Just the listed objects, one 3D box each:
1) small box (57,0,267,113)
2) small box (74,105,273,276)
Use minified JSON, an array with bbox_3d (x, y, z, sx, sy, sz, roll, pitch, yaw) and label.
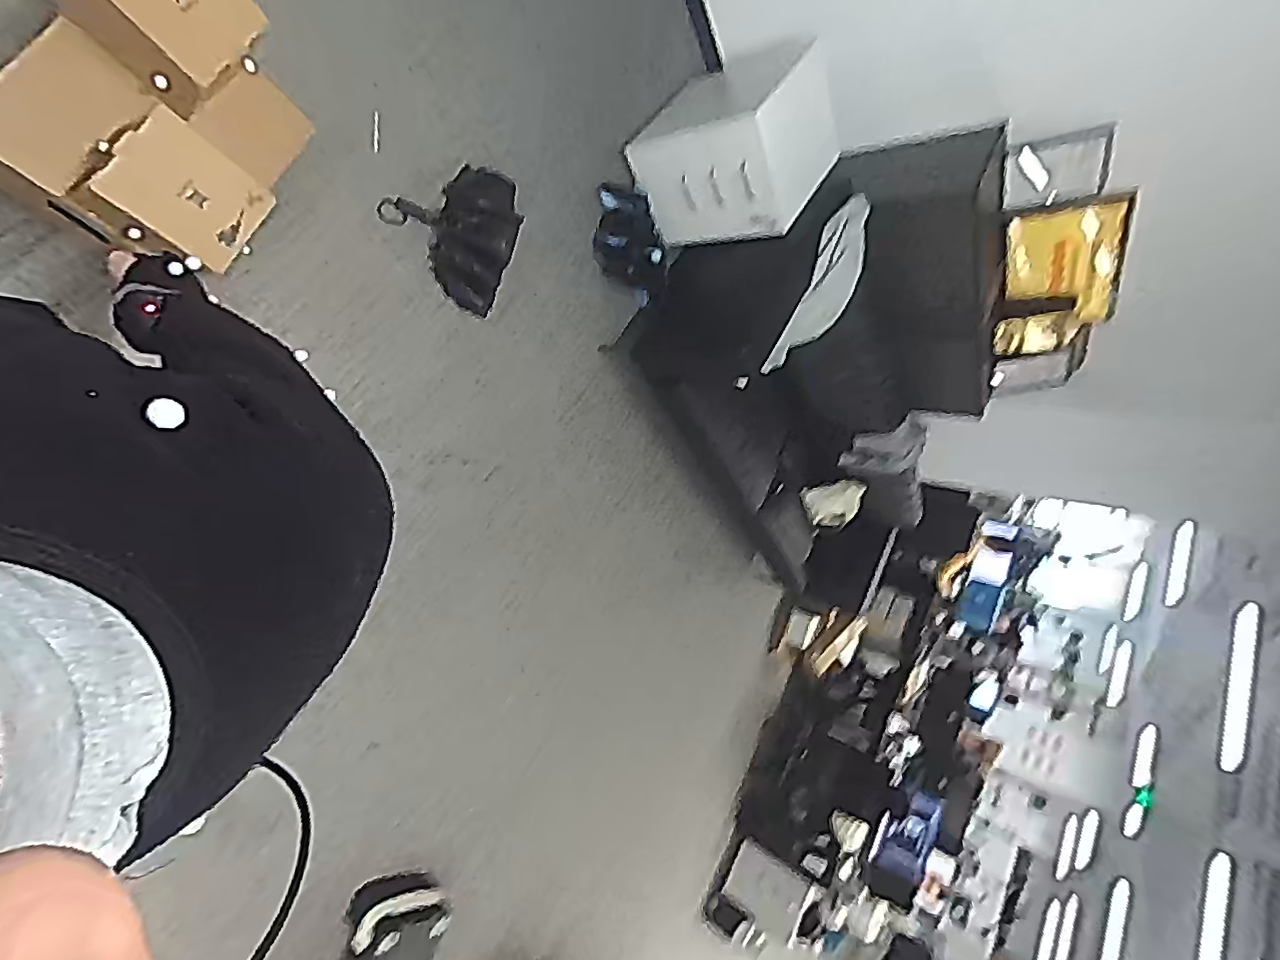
[{"bbox_3d":[-0.726,-0.702,0.826,0.179,0.176,0.168,43,67,-43],"label":"small box"},{"bbox_3d":[-0.749,-0.447,0.869,0.179,0.176,0.168,41,69,-49],"label":"small box"}]
